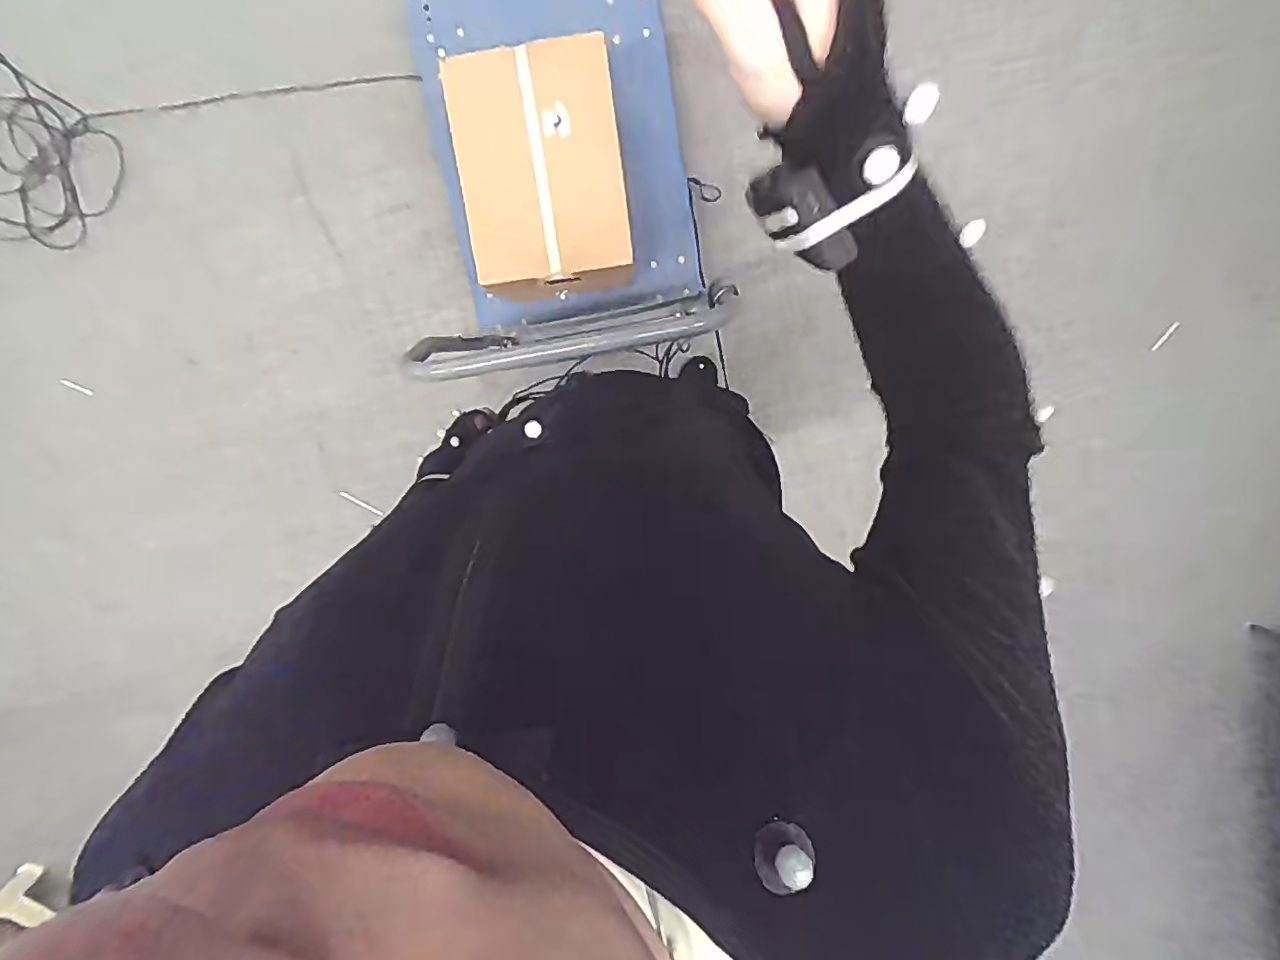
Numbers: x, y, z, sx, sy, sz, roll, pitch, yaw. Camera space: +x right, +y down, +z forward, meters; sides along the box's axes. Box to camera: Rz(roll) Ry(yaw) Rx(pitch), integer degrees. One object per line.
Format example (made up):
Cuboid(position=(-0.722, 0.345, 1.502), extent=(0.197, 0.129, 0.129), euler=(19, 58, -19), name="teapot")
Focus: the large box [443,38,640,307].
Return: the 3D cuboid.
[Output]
Cuboid(position=(-0.181, -0.617, 1.167), extent=(0.320, 0.320, 0.408), euler=(-7, 101, 2), name="large box")
